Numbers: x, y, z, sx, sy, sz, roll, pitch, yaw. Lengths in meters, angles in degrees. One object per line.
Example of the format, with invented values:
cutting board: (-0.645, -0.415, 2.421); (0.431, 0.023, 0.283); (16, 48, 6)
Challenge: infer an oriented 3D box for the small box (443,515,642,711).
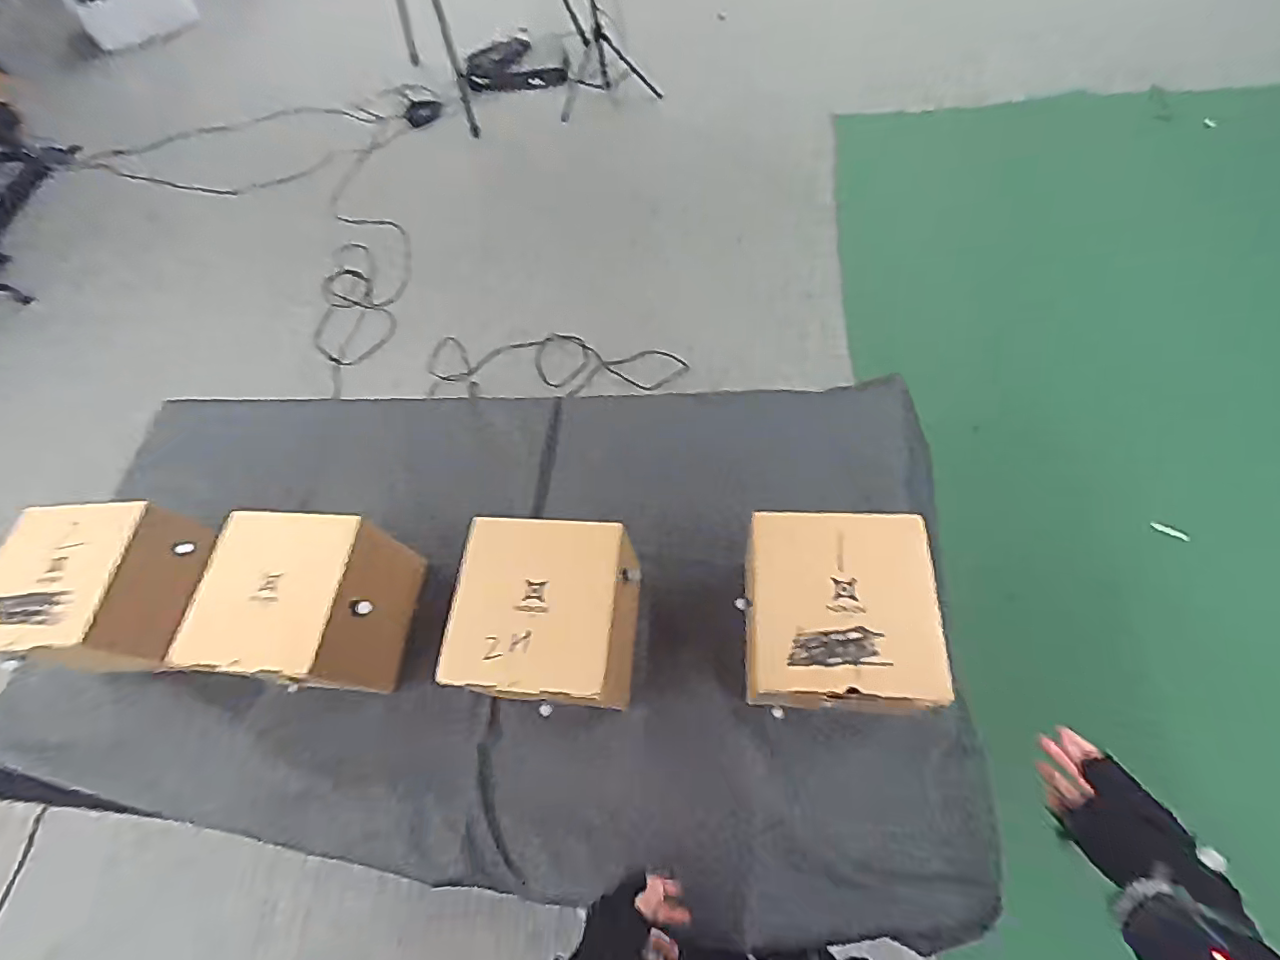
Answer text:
small box: (-0.093, 0.155, 0.616); (0.168, 0.176, 0.179); (3, 64, 9)

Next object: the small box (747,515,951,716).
small box: (0.204, 0.151, 0.580); (0.168, 0.176, 0.179); (1, 64, 8)

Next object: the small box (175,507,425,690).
small box: (-0.388, 0.149, 0.659); (0.168, 0.176, 0.179); (2, 65, 8)
